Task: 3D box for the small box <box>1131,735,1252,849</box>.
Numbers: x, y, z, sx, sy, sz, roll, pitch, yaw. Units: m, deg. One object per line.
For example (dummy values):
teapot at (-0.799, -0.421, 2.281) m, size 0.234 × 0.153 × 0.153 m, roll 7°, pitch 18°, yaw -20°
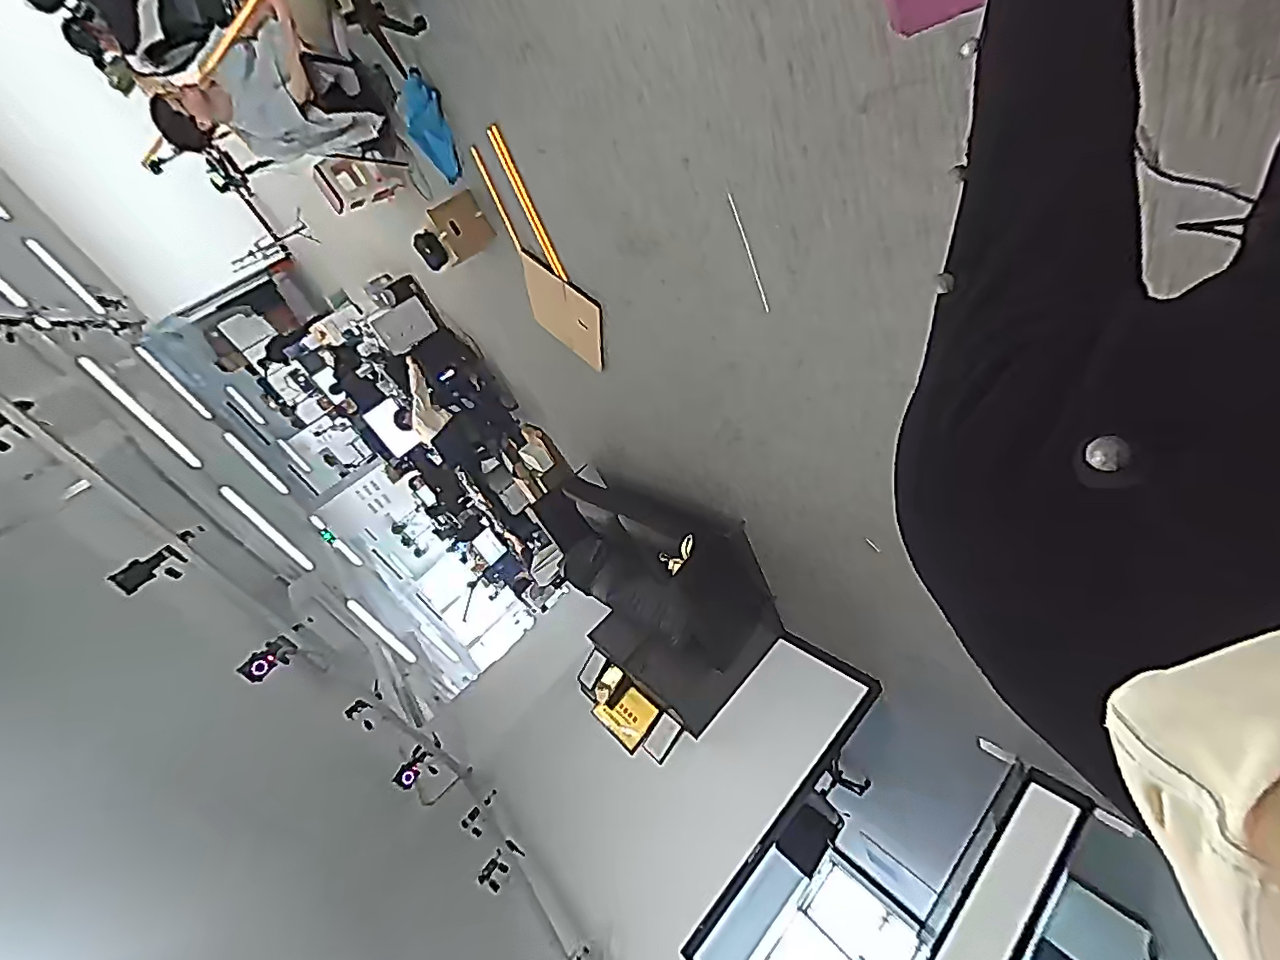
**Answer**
small box at (1.443, 0.810, 1.417) m, size 0.168 × 0.176 × 0.179 m, roll 29°, pitch 154°, yaw 45°
